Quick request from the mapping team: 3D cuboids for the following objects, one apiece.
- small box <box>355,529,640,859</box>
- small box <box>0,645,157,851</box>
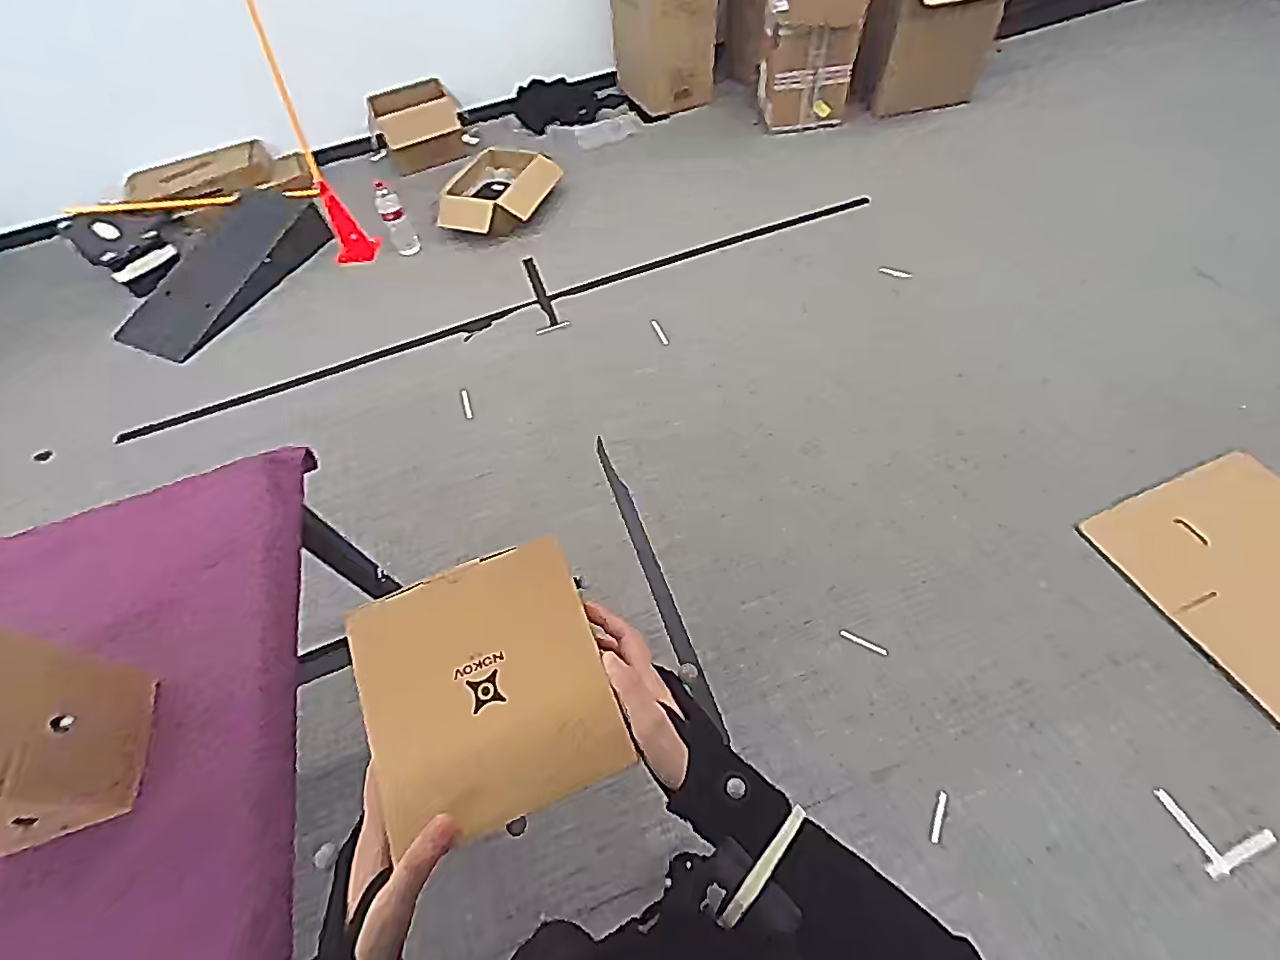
[{"bbox_3d":[-0.104,0.168,0.453,0.168,0.176,0.179,-20,68,-9],"label":"small box"},{"bbox_3d":[-0.746,0.332,0.658,0.168,0.176,0.179,-18,55,-6],"label":"small box"}]
